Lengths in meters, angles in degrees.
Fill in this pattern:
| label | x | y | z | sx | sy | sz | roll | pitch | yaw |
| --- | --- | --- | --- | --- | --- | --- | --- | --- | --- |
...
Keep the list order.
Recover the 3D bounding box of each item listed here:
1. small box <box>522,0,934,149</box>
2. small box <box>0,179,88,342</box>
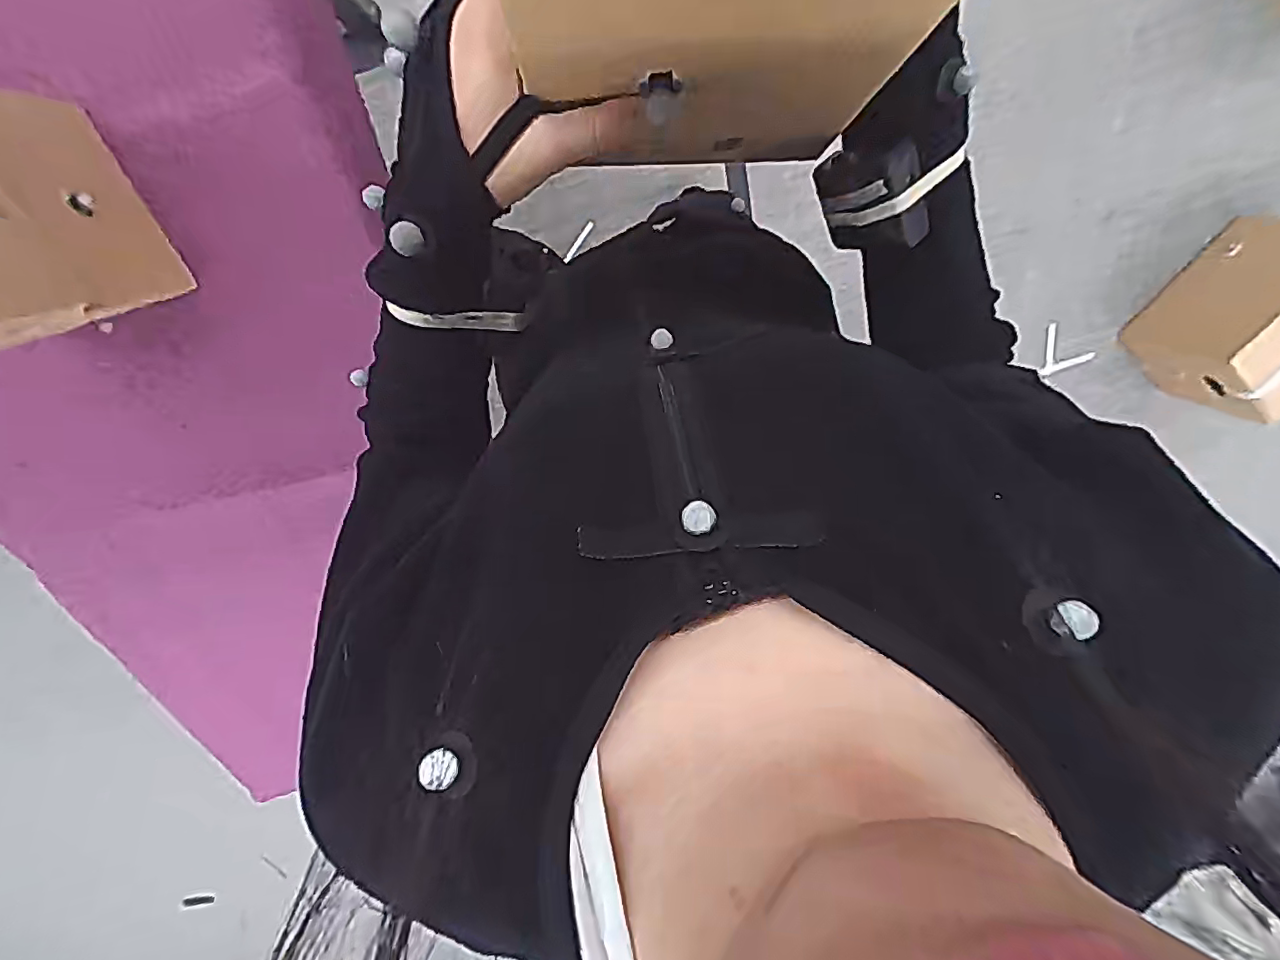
| label | x | y | z | sx | sy | sz | roll | pitch | yaw |
| --- | --- | --- | --- | --- | --- | --- | --- | --- | --- |
| small box | 0.036 | -0.267 | 0.234 | 0.168 | 0.176 | 0.179 | -2 | 99 | -2 |
| small box | -0.545 | -0.158 | 0.344 | 0.168 | 0.176 | 0.179 | -21 | 118 | 3 |
